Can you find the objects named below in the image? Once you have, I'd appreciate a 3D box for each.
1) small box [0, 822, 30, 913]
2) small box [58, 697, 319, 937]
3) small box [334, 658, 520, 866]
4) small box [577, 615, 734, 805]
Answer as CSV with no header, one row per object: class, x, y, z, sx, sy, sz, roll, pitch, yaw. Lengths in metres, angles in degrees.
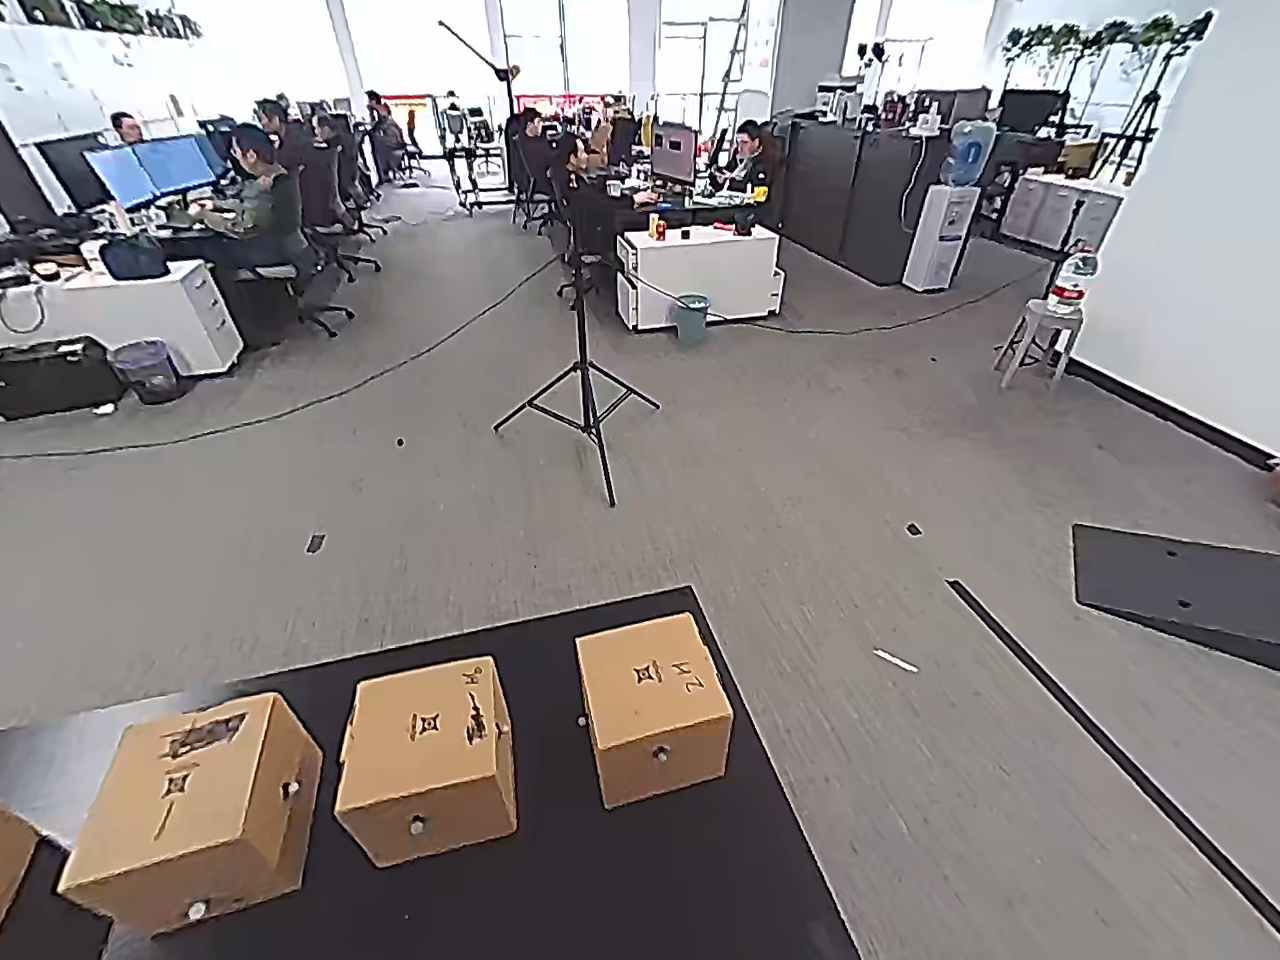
small box,-0.831,0.467,0.573,0.168,0.176,0.179,-11,38,-16
small box,-0.515,0.403,0.656,0.168,0.176,0.179,-10,39,-13
small box,-0.262,0.367,0.705,0.179,0.176,0.168,-9,38,-10
small box,0.017,0.322,0.759,0.179,0.176,0.168,-10,38,-11
